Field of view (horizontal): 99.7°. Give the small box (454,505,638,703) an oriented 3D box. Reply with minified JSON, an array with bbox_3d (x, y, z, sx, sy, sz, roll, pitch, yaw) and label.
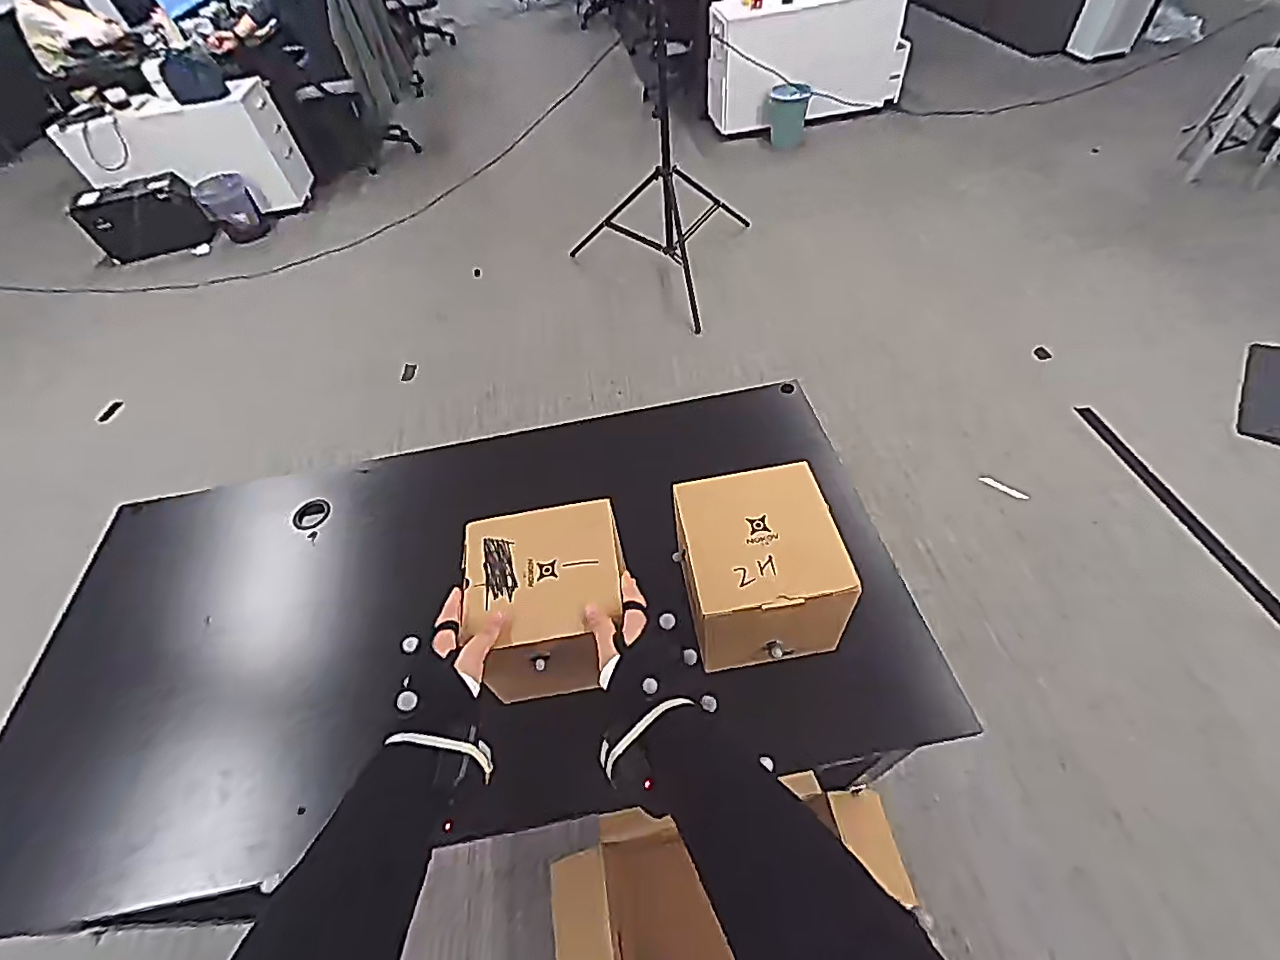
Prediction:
[{"bbox_3d":[-0.104,0.156,0.657,0.179,0.176,0.168,-9,51,-1],"label":"small box"}]

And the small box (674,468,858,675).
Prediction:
[{"bbox_3d":[0.138,0.113,0.659,0.168,0.176,0.179,-10,51,1],"label":"small box"}]
